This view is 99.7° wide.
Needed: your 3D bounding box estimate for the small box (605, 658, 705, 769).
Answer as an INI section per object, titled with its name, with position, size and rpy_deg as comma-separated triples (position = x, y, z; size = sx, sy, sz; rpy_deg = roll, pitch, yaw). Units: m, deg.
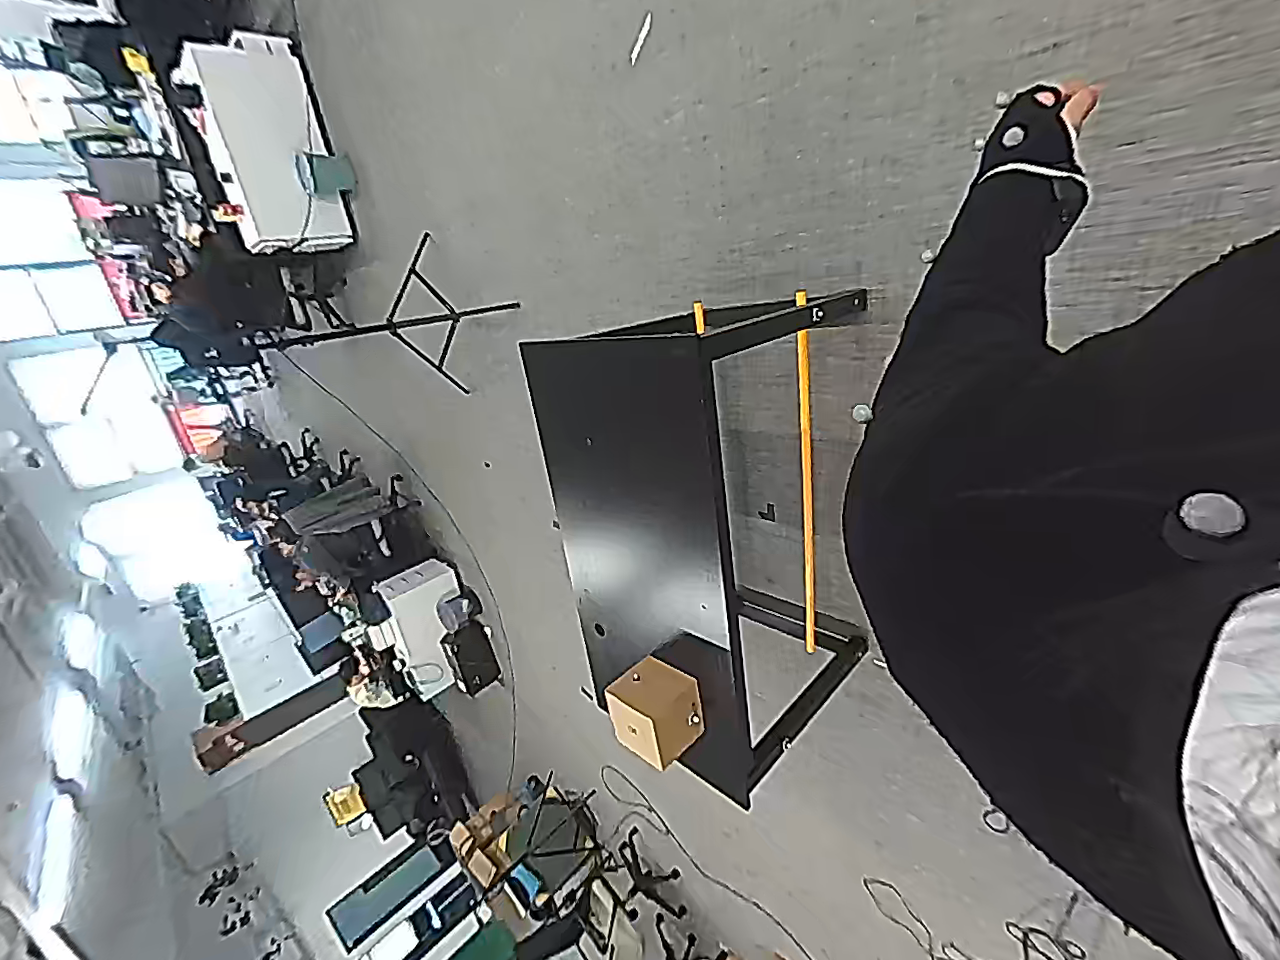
[small box]
position = 0.041, 0.585, 1.383
size = 0.179, 0.176, 0.168
rpy_deg = 9, 118, 46
